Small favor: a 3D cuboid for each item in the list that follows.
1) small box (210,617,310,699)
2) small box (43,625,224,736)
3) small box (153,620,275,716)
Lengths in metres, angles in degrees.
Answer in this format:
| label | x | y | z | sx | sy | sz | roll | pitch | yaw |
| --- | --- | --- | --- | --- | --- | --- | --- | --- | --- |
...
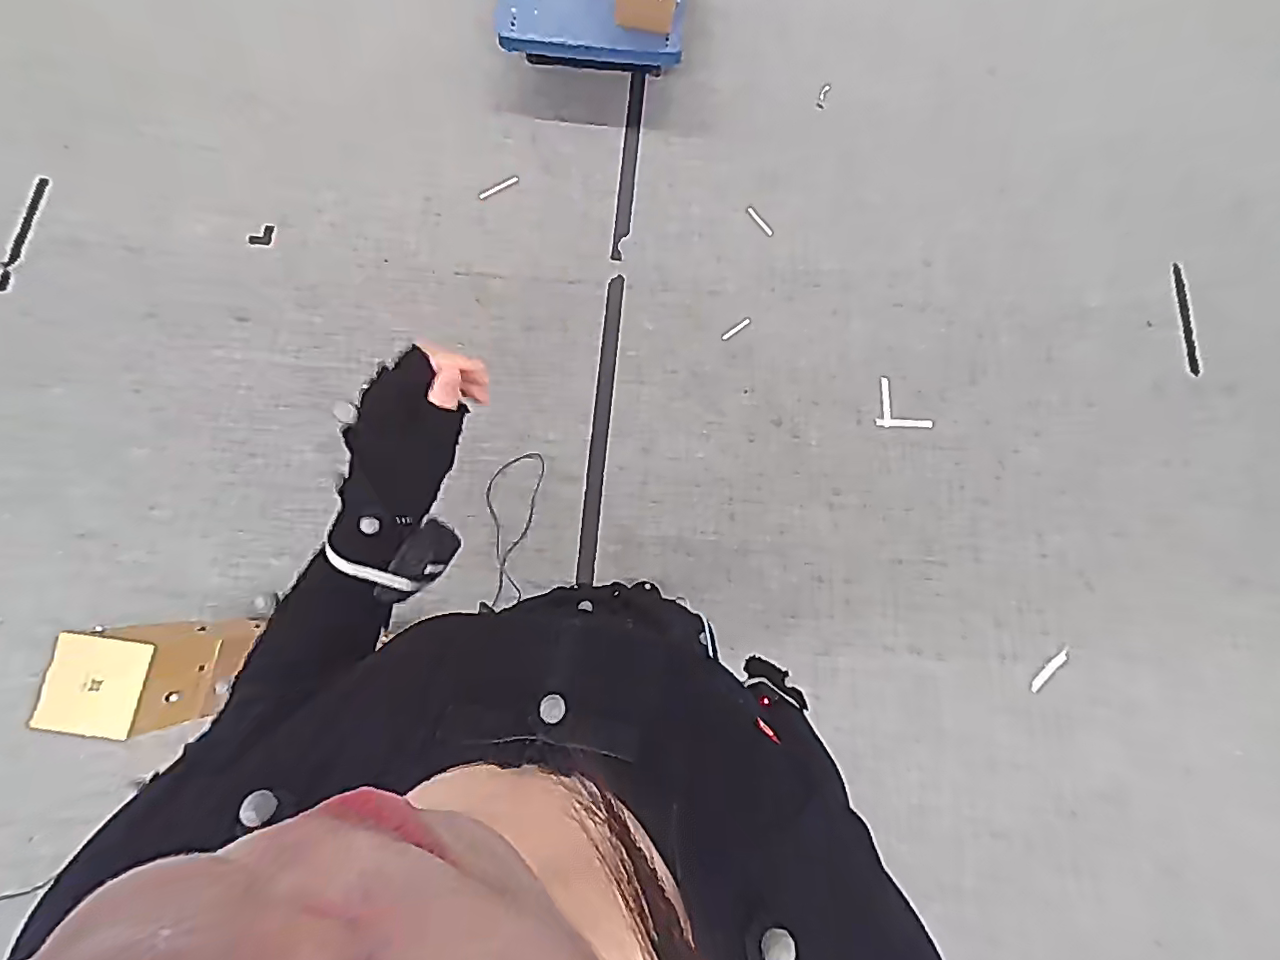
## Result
| label | x | y | z | sx | sy | sz | roll | pitch | yaw |
| --- | --- | --- | --- | --- | --- | --- | --- | --- | --- |
| small box | -0.986 | 0.446 | 1.378 | 0.179 | 0.176 | 0.168 | 8 | 78 | 0 |
| small box | -0.971 | 0.382 | 1.057 | 0.179 | 0.176 | 0.168 | 7 | 79 | 1 |
| small box | -0.972 | 0.413 | 1.217 | 0.179 | 0.176 | 0.168 | 10 | 78 | 1 |
